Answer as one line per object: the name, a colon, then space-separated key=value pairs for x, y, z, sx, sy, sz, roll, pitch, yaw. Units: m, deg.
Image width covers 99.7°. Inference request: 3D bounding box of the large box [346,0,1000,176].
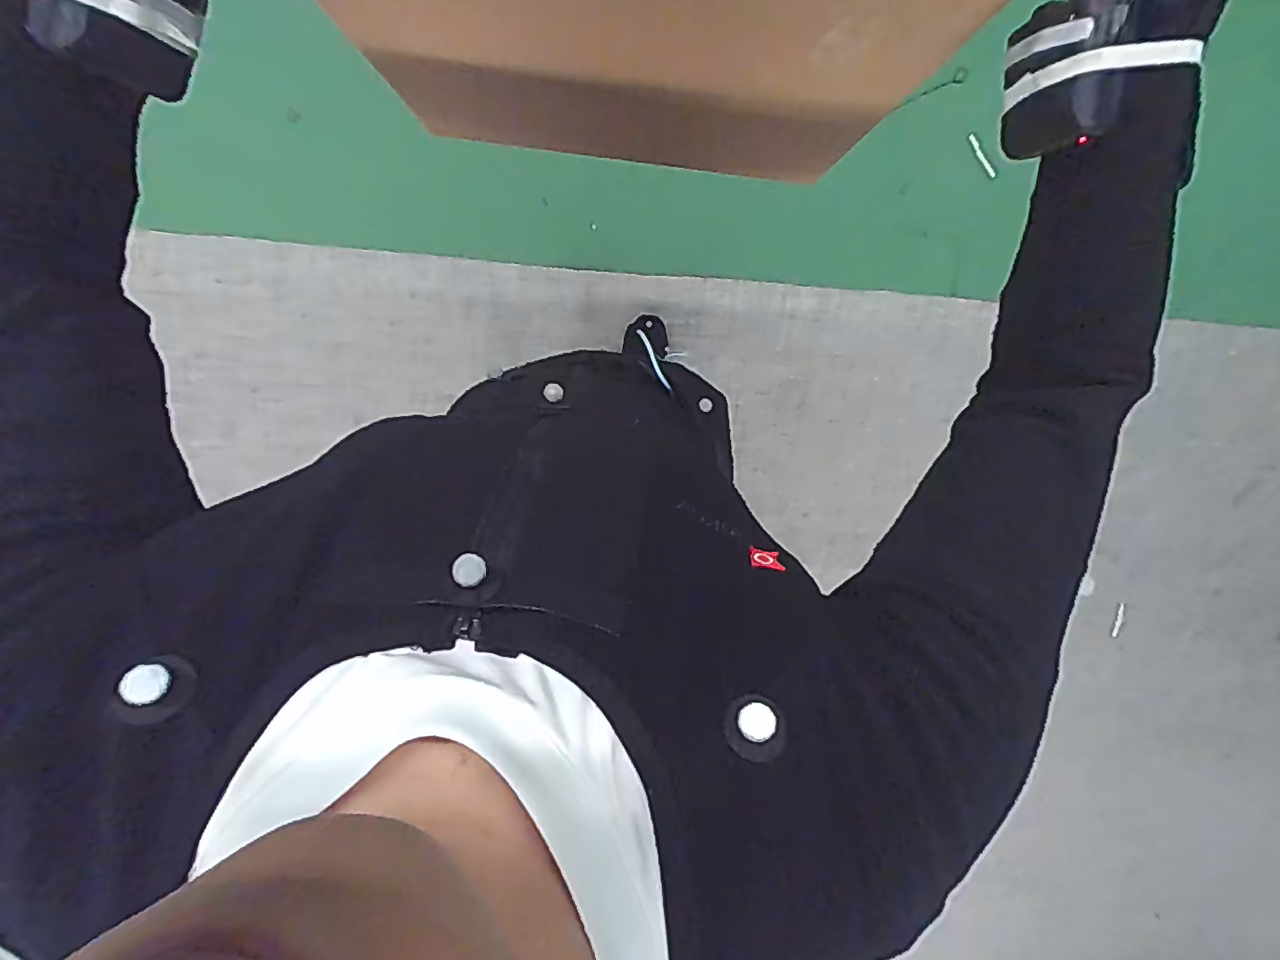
large box: x=0.012 y=-0.453 z=0.389 sx=0.408 sy=0.320 sz=0.320 roll=5 pitch=103 yaw=-4
